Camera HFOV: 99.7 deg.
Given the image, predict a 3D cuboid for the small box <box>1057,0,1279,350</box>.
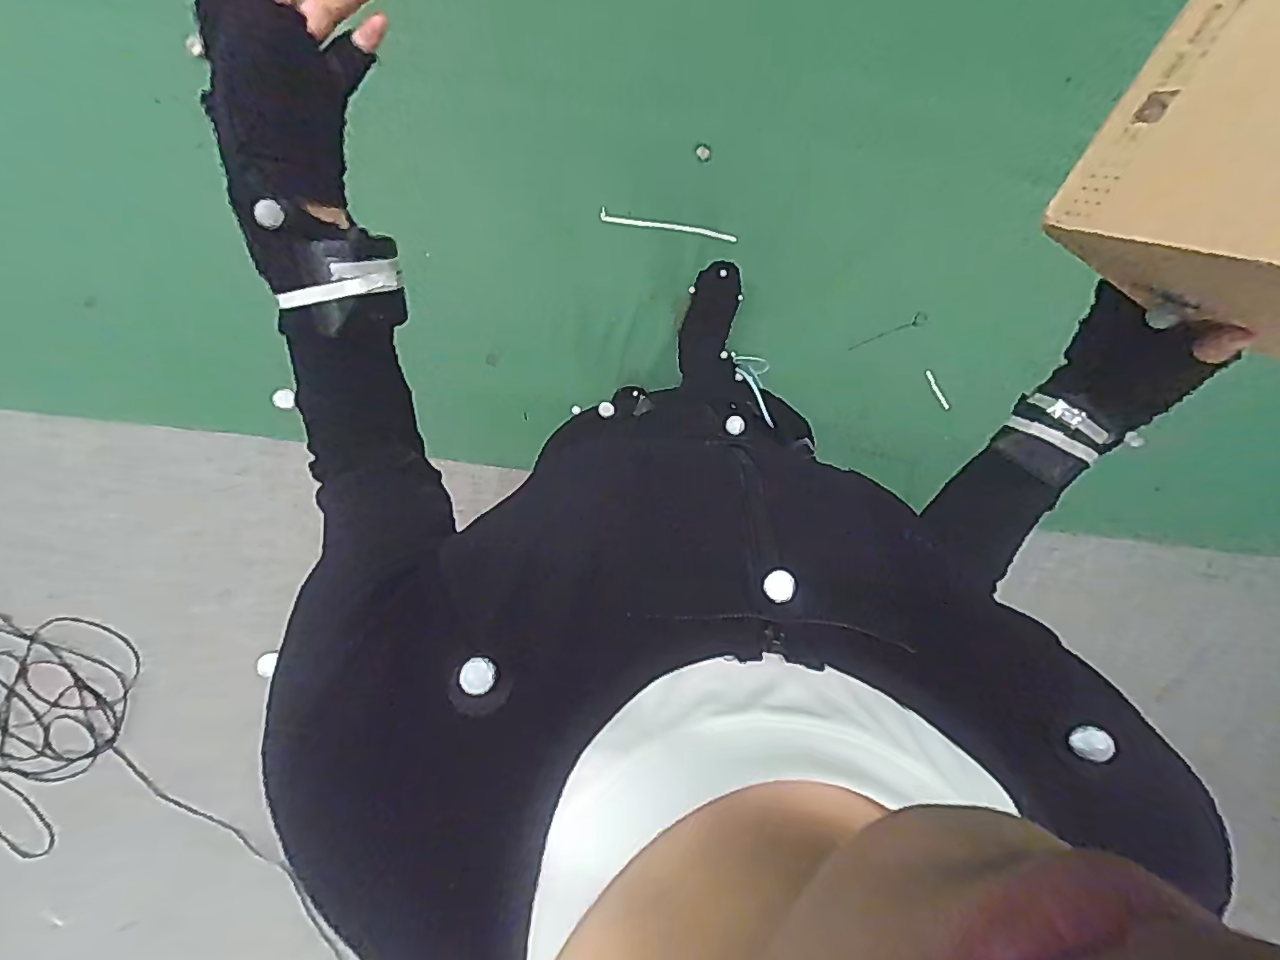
[{"bbox_3d":[0.354,-0.152,0.243,0.179,0.176,0.168,15,116,-26],"label":"small box"}]
